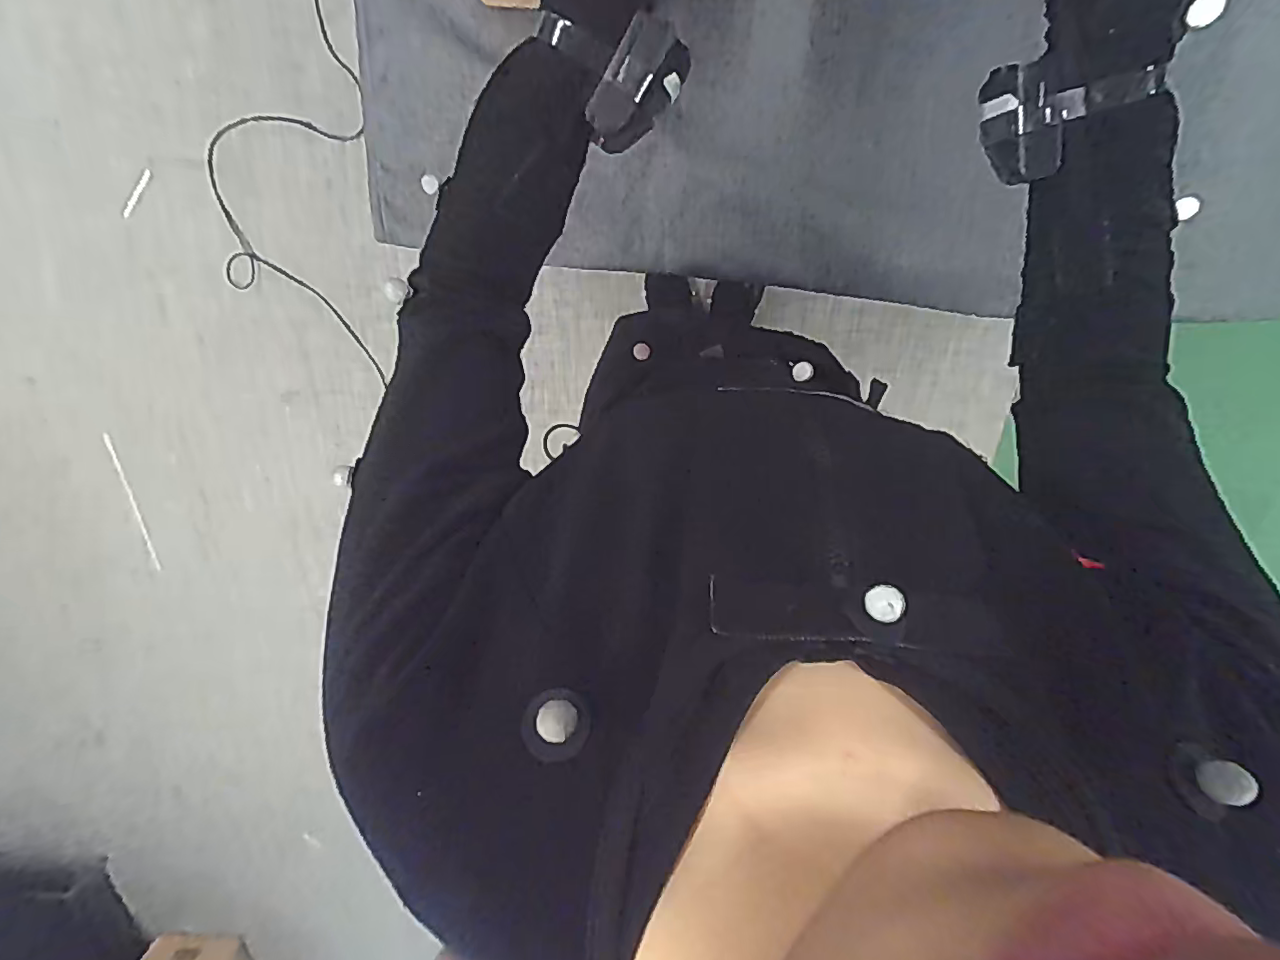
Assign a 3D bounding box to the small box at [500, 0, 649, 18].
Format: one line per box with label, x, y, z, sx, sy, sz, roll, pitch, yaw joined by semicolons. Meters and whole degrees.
small box;-0.070;-0.528;0.446;0.168;0.176;0.179;4;113;2
